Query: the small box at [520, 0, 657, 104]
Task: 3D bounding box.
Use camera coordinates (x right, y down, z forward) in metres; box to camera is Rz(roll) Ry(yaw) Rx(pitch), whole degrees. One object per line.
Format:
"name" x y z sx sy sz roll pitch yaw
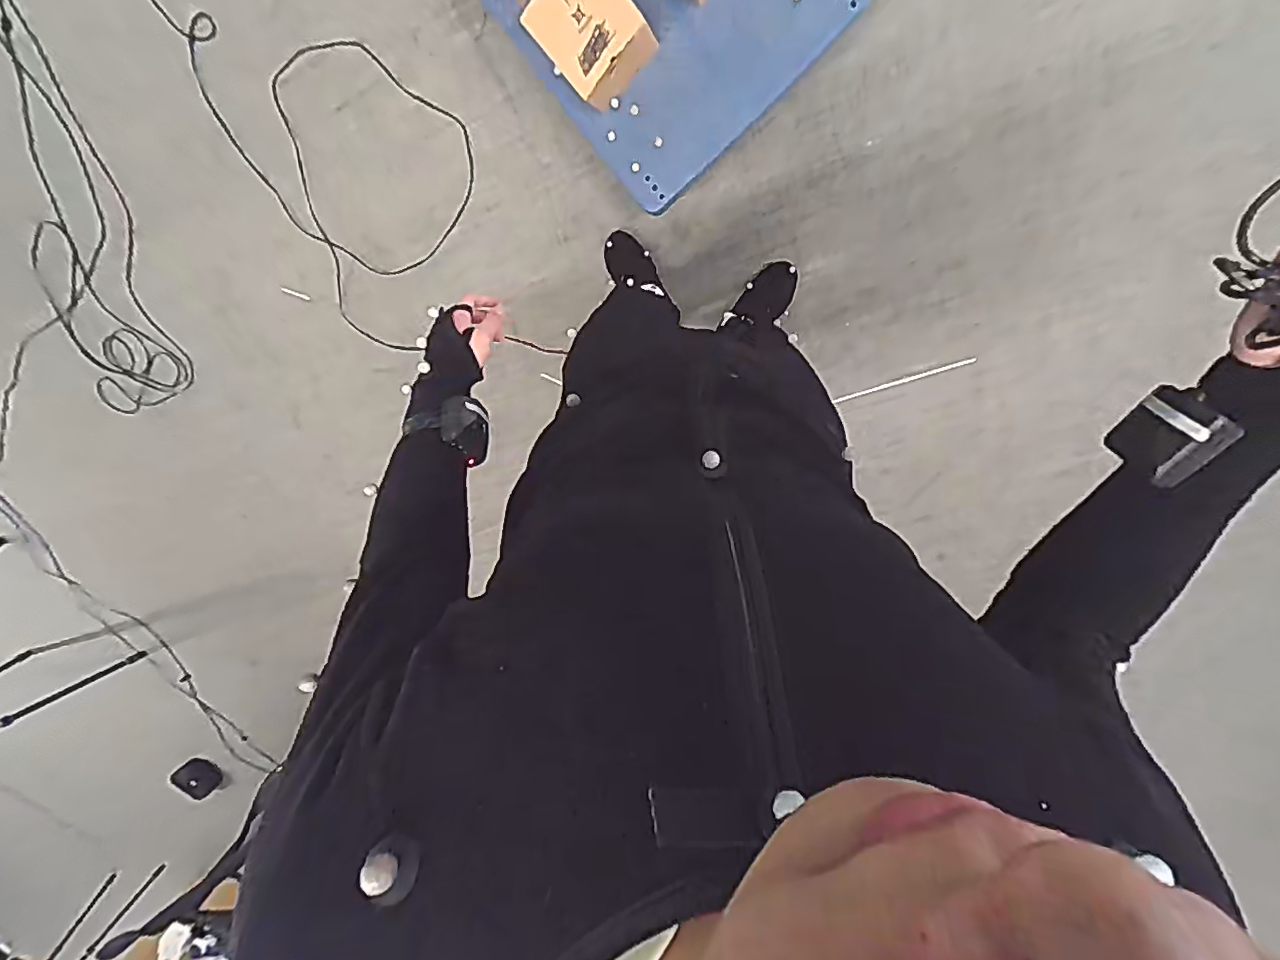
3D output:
"small box" -0.088 -0.855 1.029 0.168 0.176 0.179 -37 103 25
